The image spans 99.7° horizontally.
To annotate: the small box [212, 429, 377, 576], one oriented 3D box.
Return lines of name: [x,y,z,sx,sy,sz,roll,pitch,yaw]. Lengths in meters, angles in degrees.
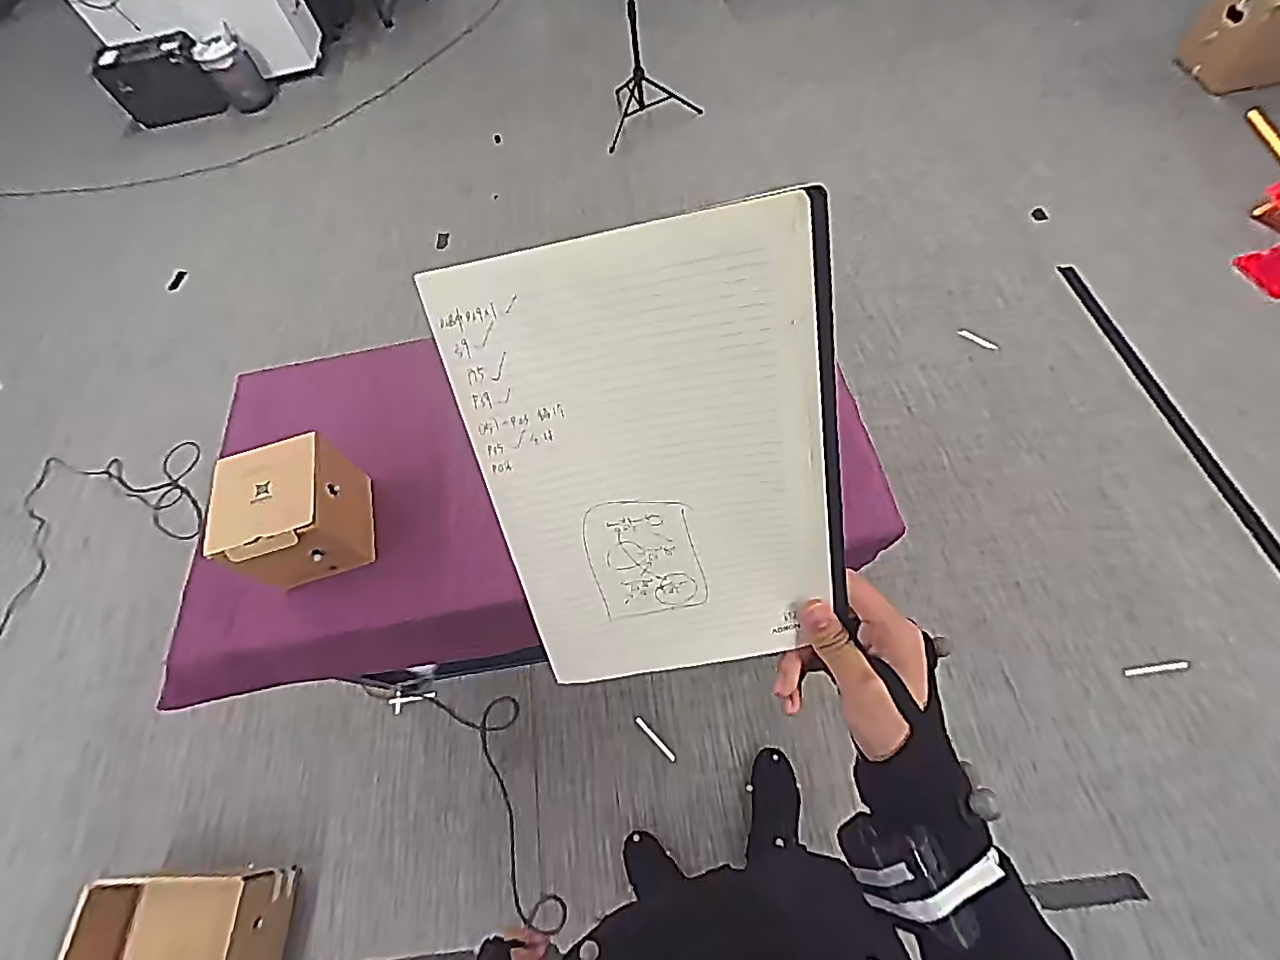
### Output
small box: [-0.560,0.048,0.899,0.168,0.176,0.179,-16,62,-2]
